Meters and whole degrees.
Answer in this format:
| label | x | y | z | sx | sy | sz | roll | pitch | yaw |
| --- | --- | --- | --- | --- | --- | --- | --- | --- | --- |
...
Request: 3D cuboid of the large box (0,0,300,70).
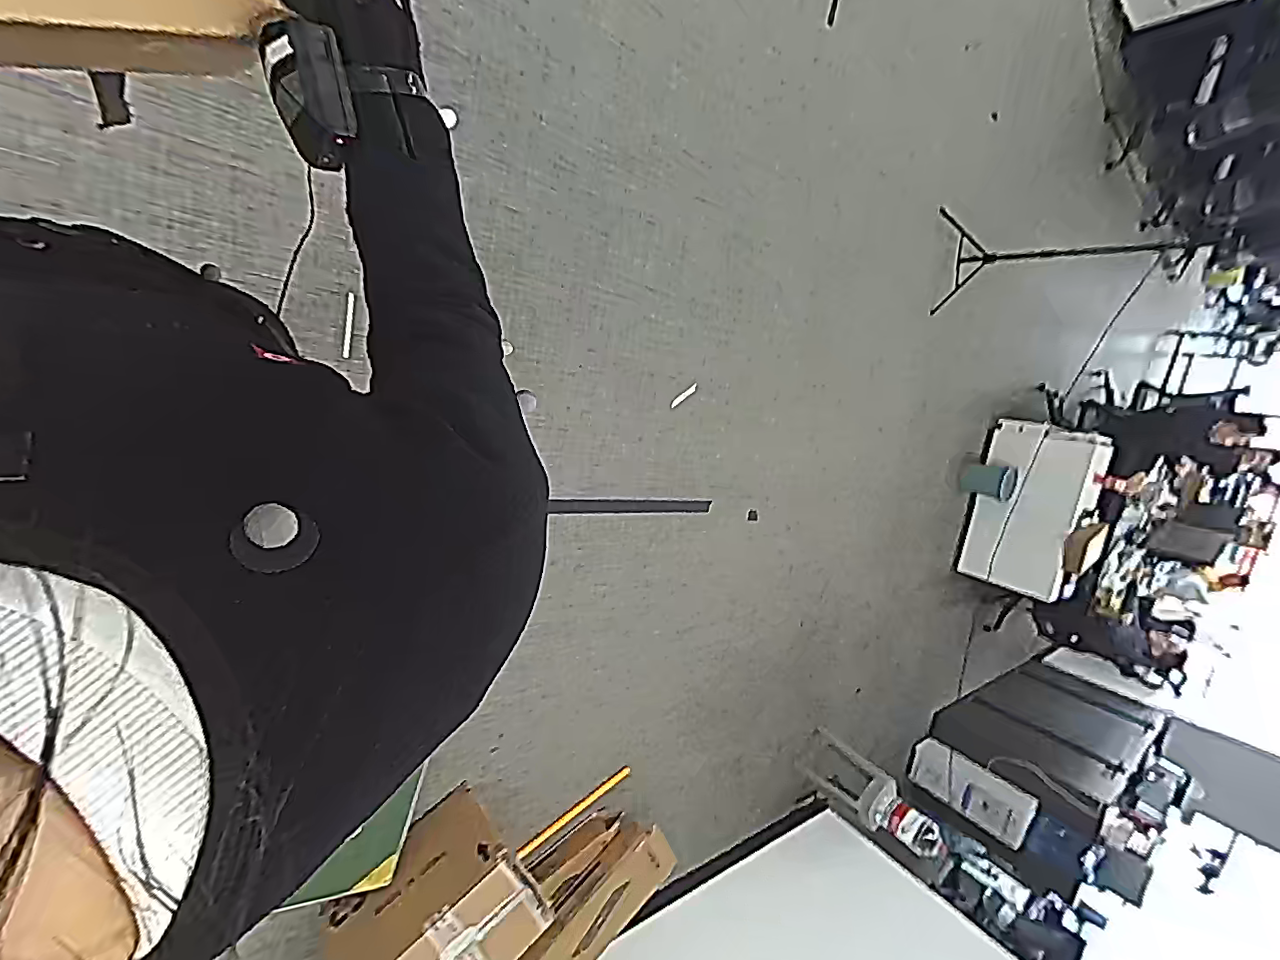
| label | x | y | z | sx | sy | sz | roll | pitch | yaw |
| --- | --- | --- | --- | --- | --- | --- | --- | --- | --- |
| large box | -0.462 | -0.401 | 0.252 | 0.408 | 0.320 | 0.320 | -24 | 131 | -33 |
